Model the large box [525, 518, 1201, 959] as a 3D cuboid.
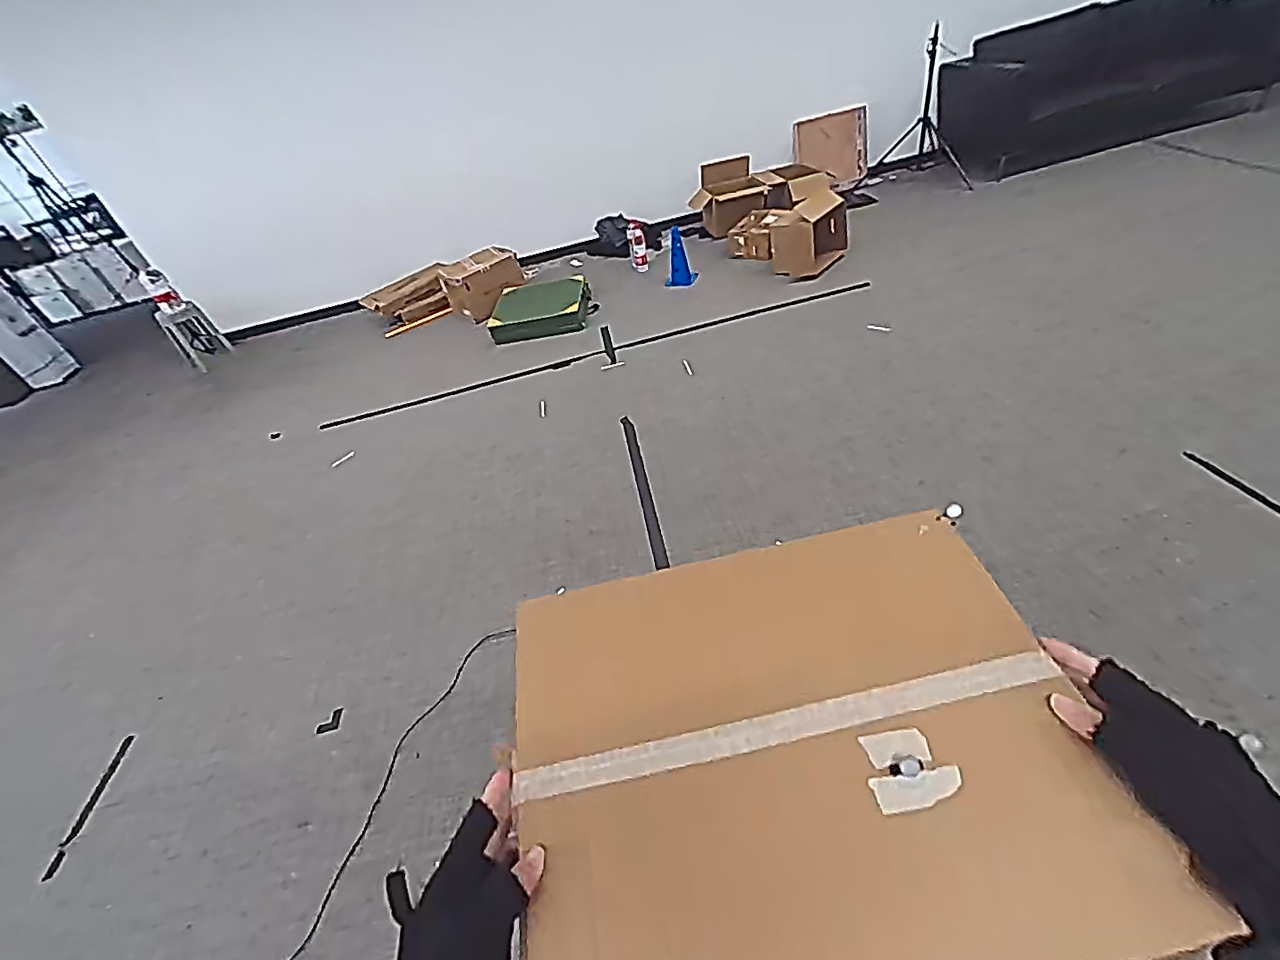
[{"bbox_3d":[0.130,0.288,0.519,0.408,0.320,0.320,-12,47,-1],"label":"large box"}]
